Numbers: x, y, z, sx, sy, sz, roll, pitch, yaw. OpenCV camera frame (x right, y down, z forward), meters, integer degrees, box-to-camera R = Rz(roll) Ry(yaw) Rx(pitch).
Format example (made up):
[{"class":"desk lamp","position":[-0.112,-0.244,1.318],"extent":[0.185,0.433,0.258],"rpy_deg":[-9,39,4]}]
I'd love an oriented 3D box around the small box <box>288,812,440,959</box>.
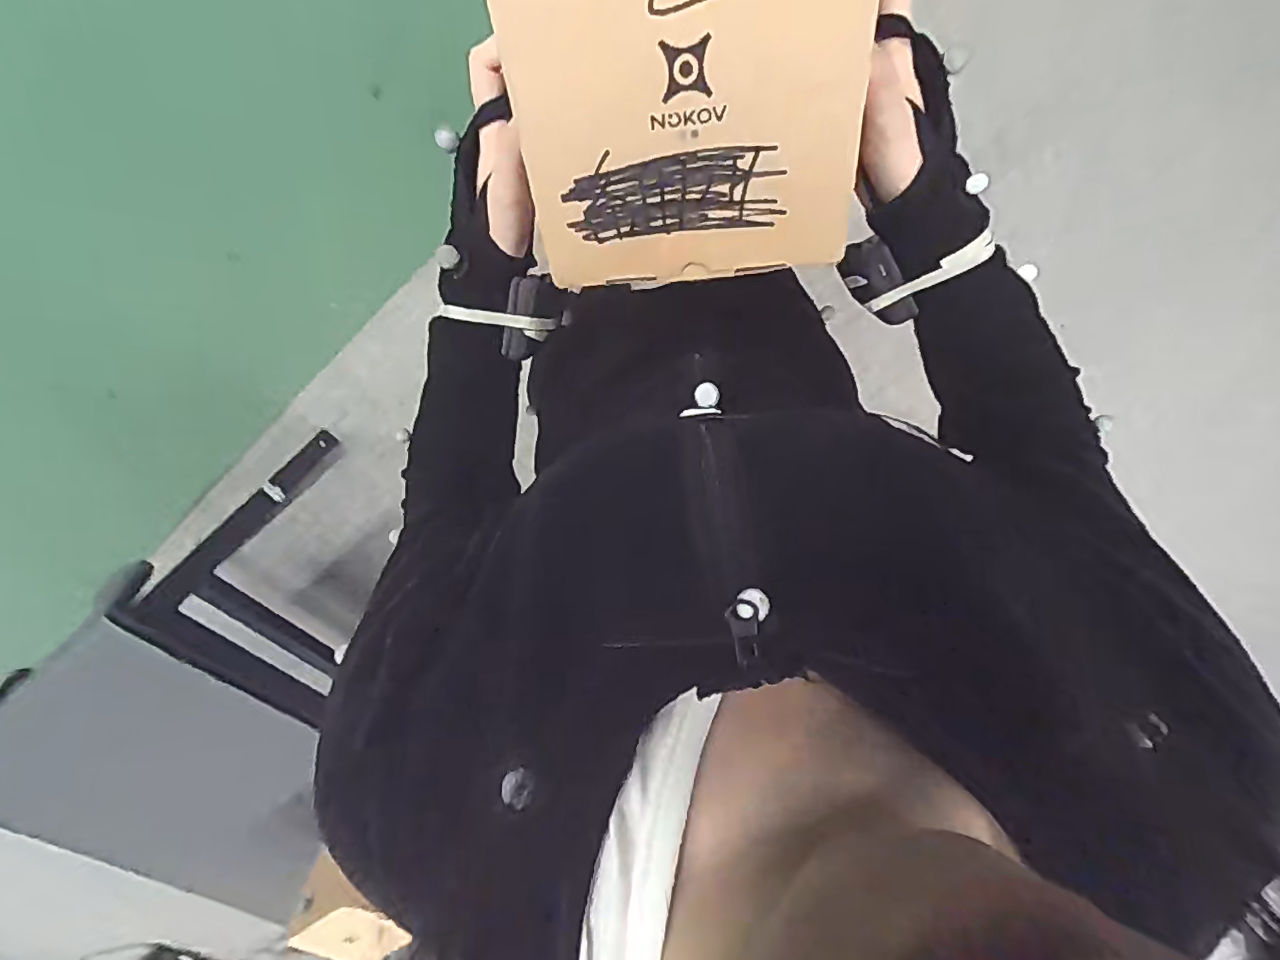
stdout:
[{"class":"small box","position":[-0.507,0.775,1.025],"extent":[0.179,0.176,0.168],"rpy_deg":[-39,116,14]}]
